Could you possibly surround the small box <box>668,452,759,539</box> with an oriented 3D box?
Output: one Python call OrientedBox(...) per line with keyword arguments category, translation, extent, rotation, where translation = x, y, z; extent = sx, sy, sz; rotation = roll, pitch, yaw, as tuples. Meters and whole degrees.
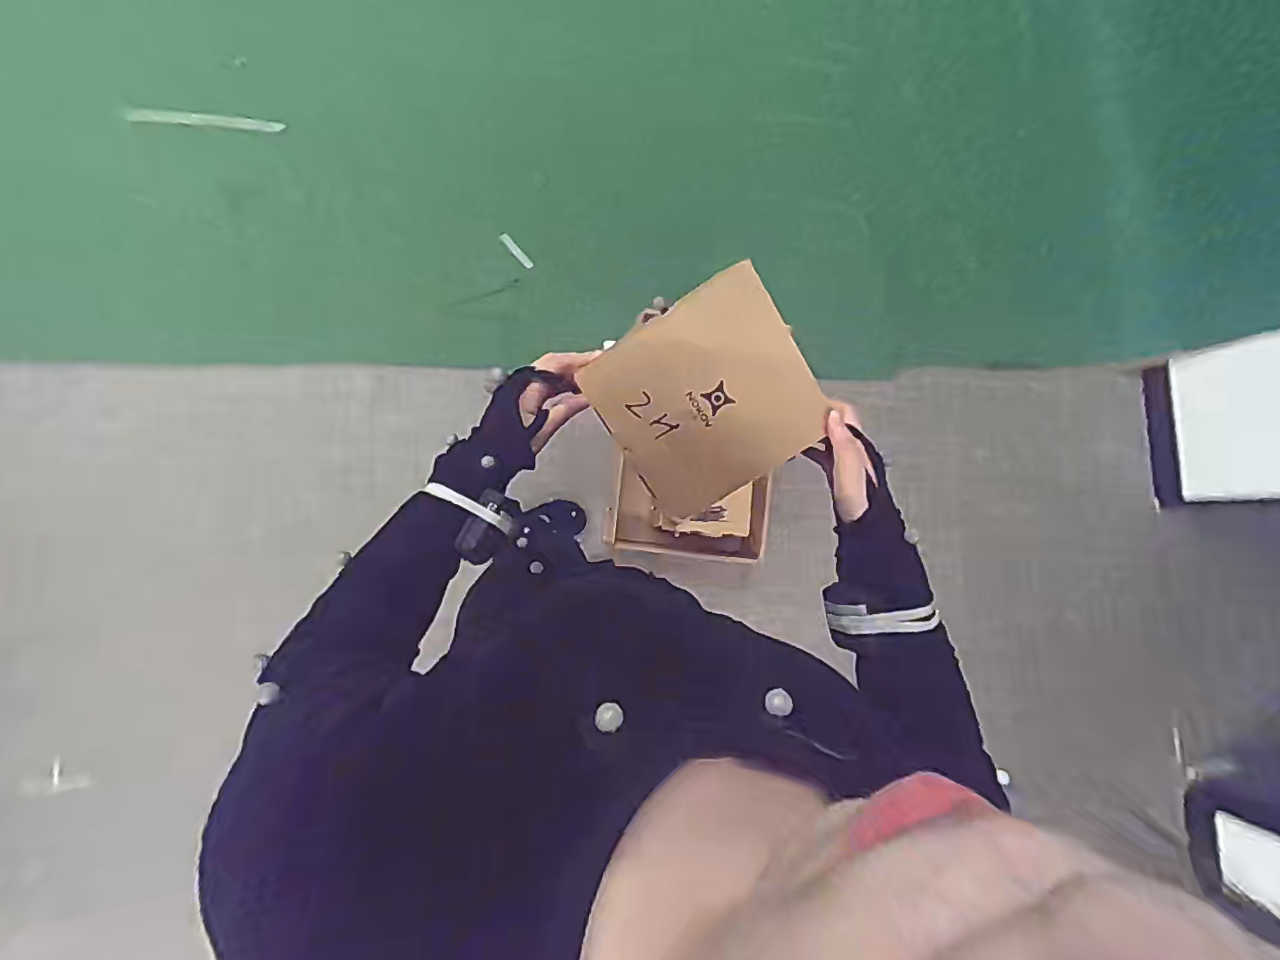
OrientedBox(category="small box", translation=(0.162, 0.039, 1.251), extent=(0.168, 0.176, 0.179), rotation=(6, 84, -7))
